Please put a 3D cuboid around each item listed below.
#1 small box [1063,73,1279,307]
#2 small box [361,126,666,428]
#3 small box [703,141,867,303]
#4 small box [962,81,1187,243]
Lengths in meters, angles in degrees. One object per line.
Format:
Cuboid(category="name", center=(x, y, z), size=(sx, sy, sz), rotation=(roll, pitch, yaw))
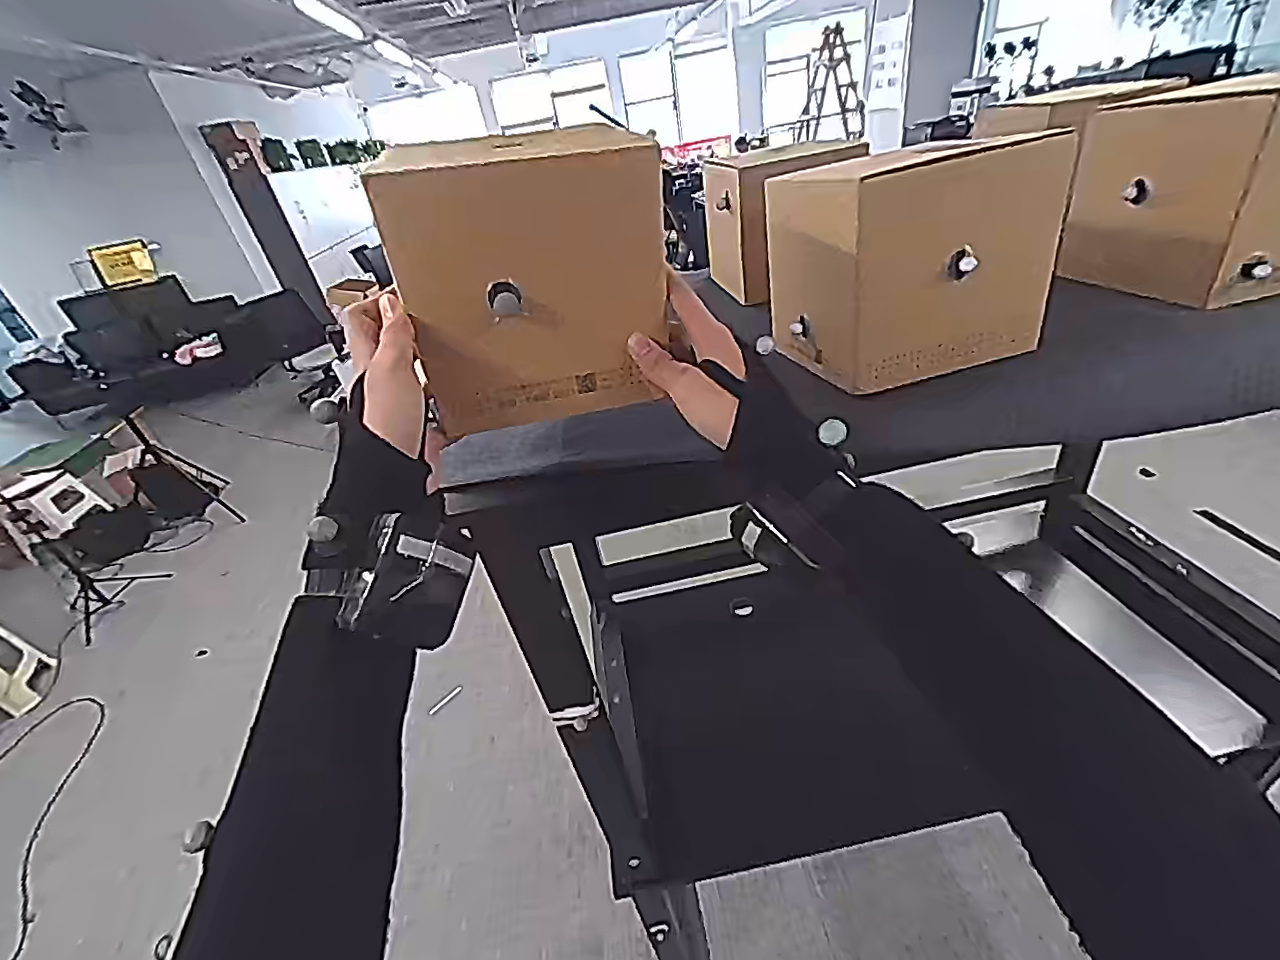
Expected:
Cuboid(category="small box", center=(0.560, -0.274, 0.516), size=(0.168, 0.176, 0.179), rotation=(-12, 31, -1))
Cuboid(category="small box", center=(-0.082, -0.150, 0.404), size=(0.168, 0.176, 0.179), rotation=(-12, 38, -10))
Cuboid(category="small box", center=(0.194, -0.357, 0.753), size=(0.168, 0.176, 0.179), rotation=(-12, 33, -2))
Cuboid(category="small box", center=(0.597, -0.448, 0.774), size=(0.168, 0.176, 0.179), rotation=(-8, 33, 2))
